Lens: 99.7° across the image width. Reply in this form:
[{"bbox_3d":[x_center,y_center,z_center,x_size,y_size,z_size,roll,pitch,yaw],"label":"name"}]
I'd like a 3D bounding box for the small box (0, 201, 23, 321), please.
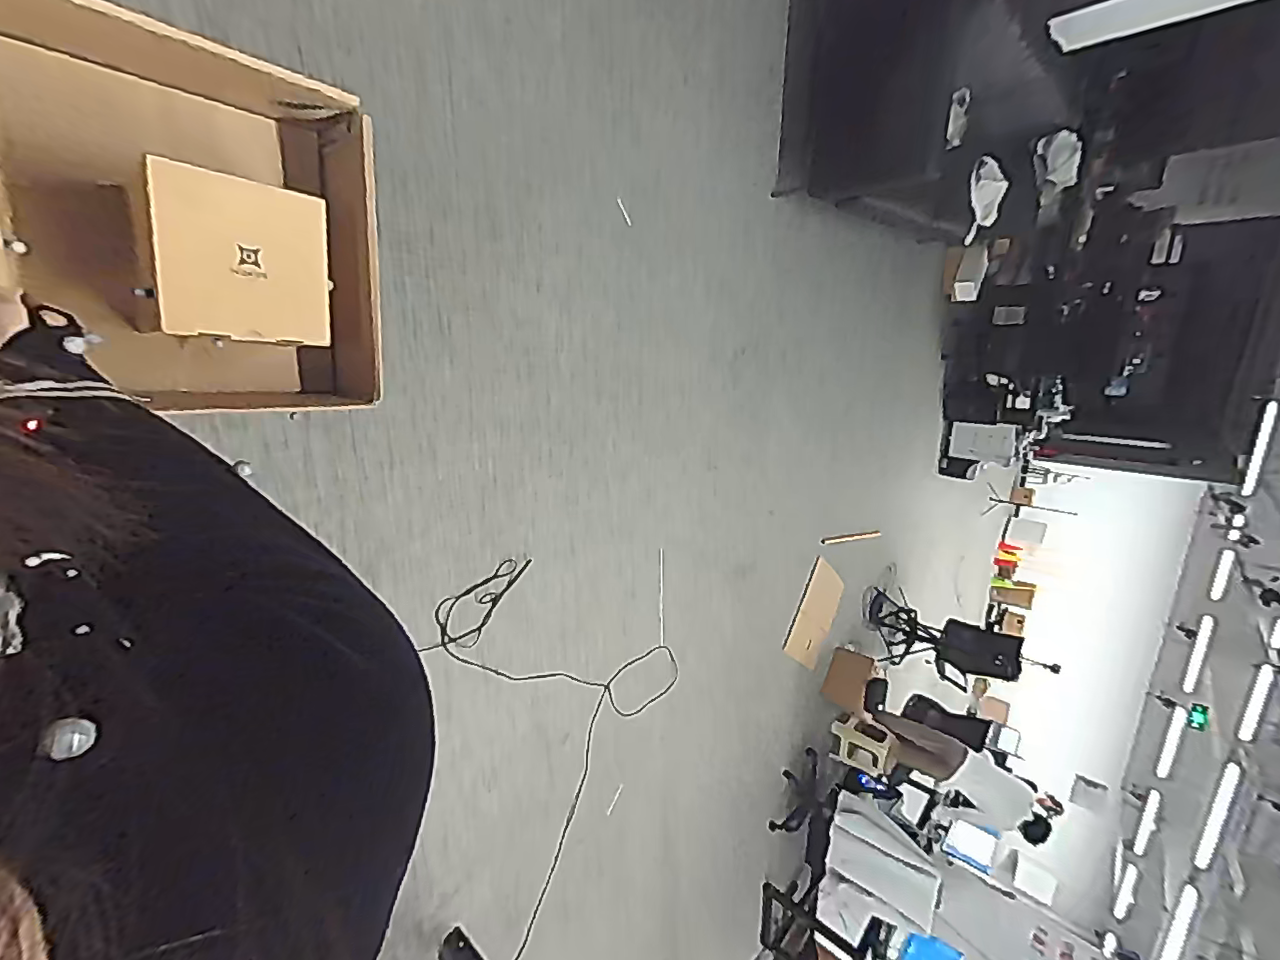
[{"bbox_3d":[-0.678,-0.235,0.470,0.168,0.176,0.179,-12,110,-46],"label":"small box"}]
